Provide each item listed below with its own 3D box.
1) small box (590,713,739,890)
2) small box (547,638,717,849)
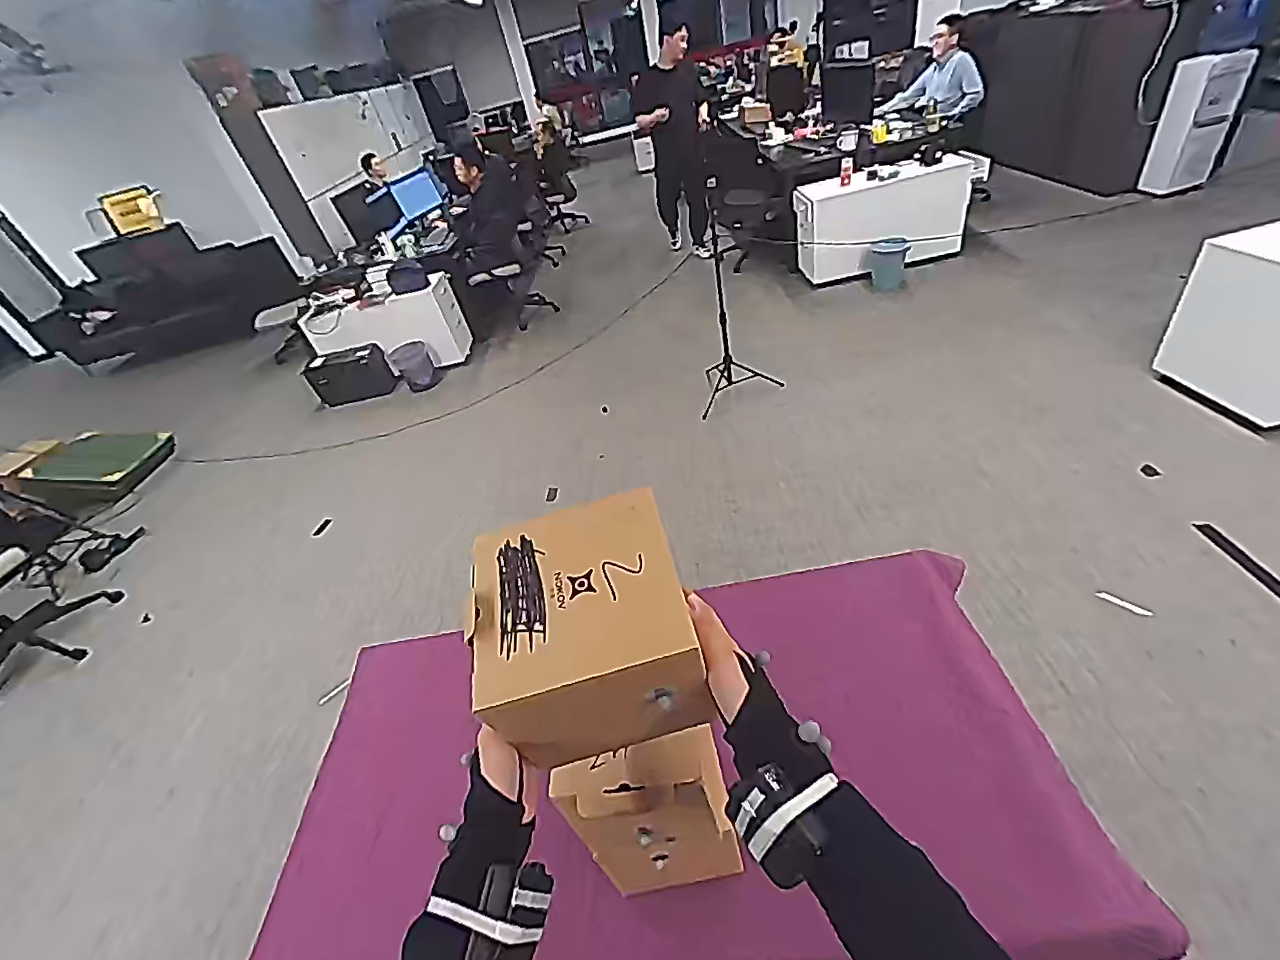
[{"bbox_3d":[0.032,0.451,0.767,0.179,0.176,0.168,-13,39,2],"label":"small box"},{"bbox_3d":[-0.002,0.324,0.668,0.168,0.176,0.179,-10,39,7],"label":"small box"}]
